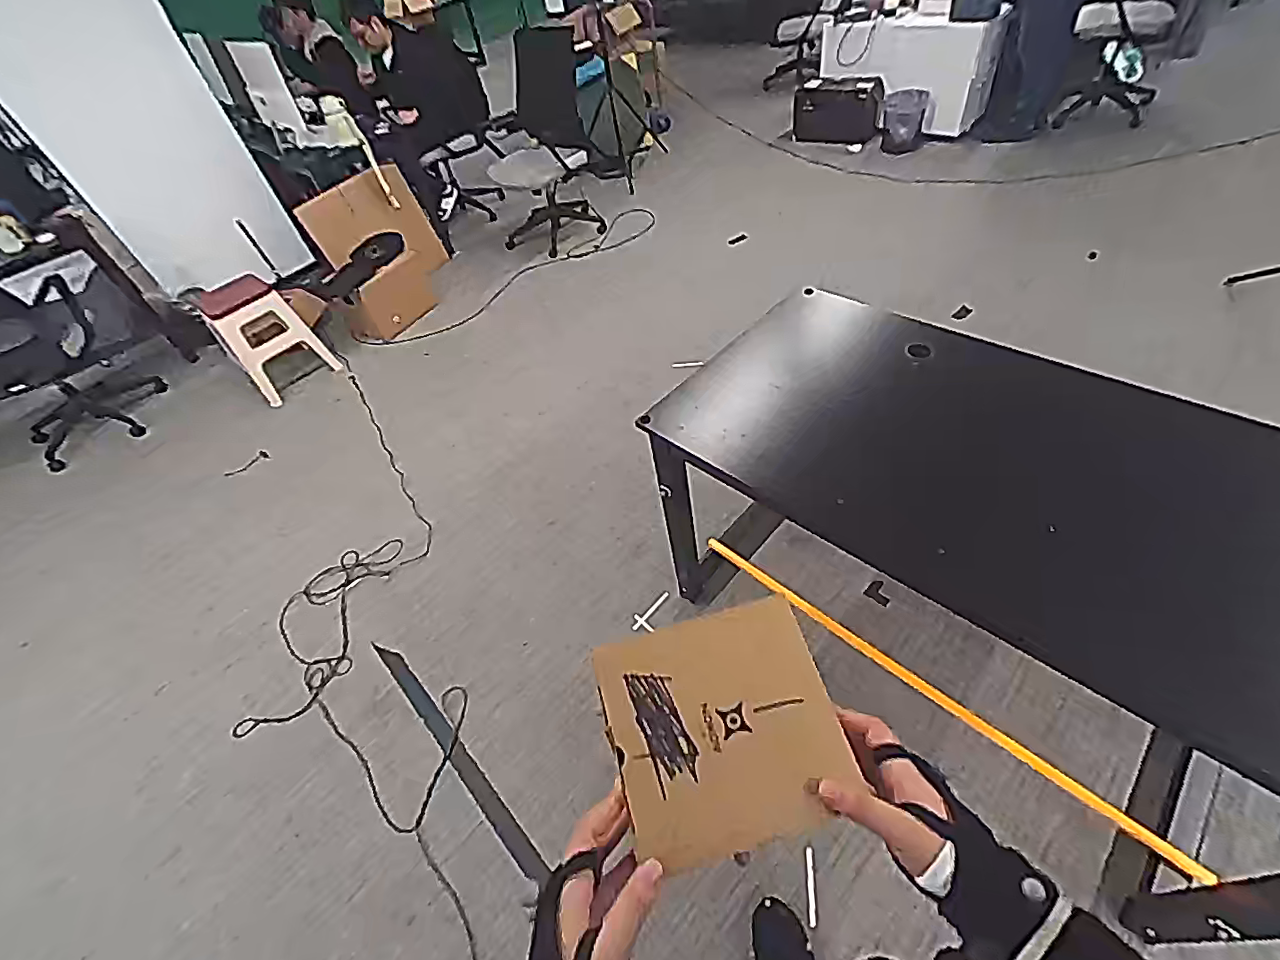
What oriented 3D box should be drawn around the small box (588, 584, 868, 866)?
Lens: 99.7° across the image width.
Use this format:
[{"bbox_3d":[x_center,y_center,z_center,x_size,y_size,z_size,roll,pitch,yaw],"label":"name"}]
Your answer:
[{"bbox_3d":[0.063,0.215,0.484,0.179,0.176,0.168,-14,63,-7],"label":"small box"}]
